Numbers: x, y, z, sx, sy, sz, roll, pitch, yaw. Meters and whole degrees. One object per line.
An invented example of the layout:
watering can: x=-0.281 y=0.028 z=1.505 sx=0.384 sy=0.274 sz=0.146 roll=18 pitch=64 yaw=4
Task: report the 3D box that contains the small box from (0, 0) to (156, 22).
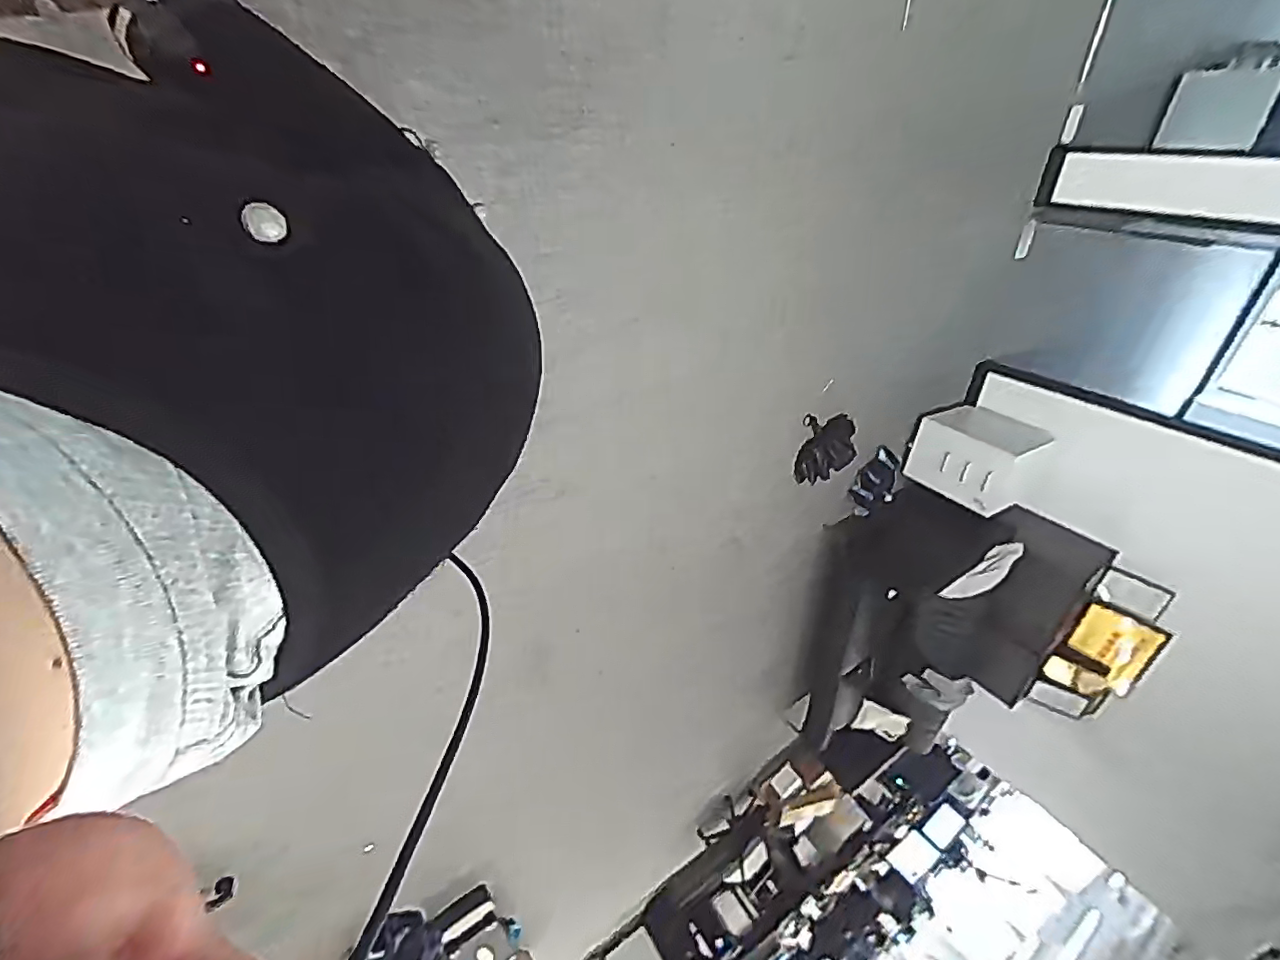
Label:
small box: x=-0.531 y=-0.490 z=0.411 sx=0.168 sy=0.176 sz=0.179 roll=-21 pitch=120 yaw=-17
